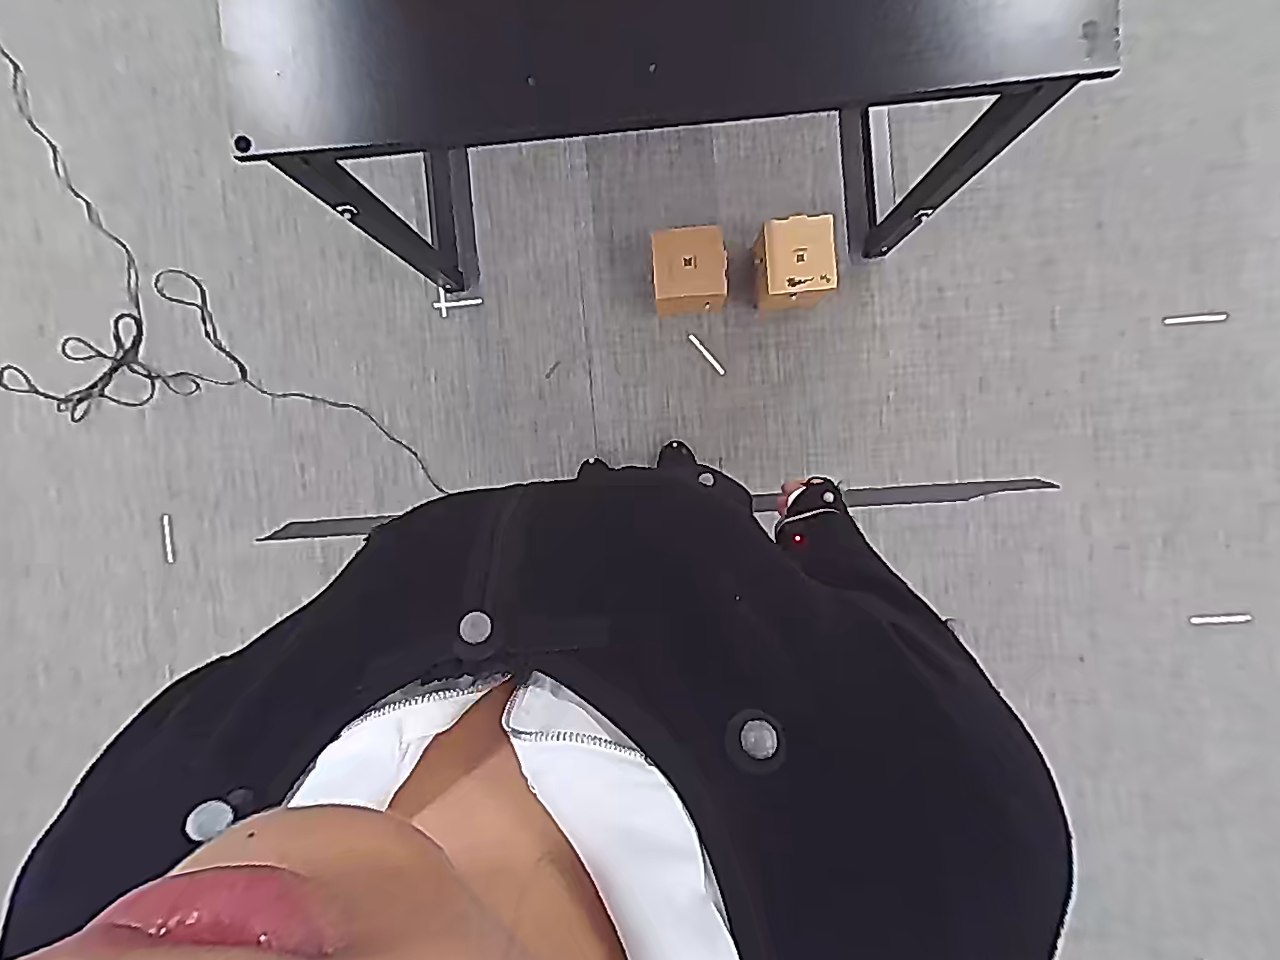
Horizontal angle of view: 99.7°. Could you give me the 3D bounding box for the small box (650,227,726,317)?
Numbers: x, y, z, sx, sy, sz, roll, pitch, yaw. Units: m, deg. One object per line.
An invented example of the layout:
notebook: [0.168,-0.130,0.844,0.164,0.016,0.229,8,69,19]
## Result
small box: [0.119,-0.525,1.384,0.179,0.176,0.168,-4,92,4]

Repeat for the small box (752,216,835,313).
small box: [0.382,-0.539,1.369,0.168,0.176,0.179,-5,92,3]
